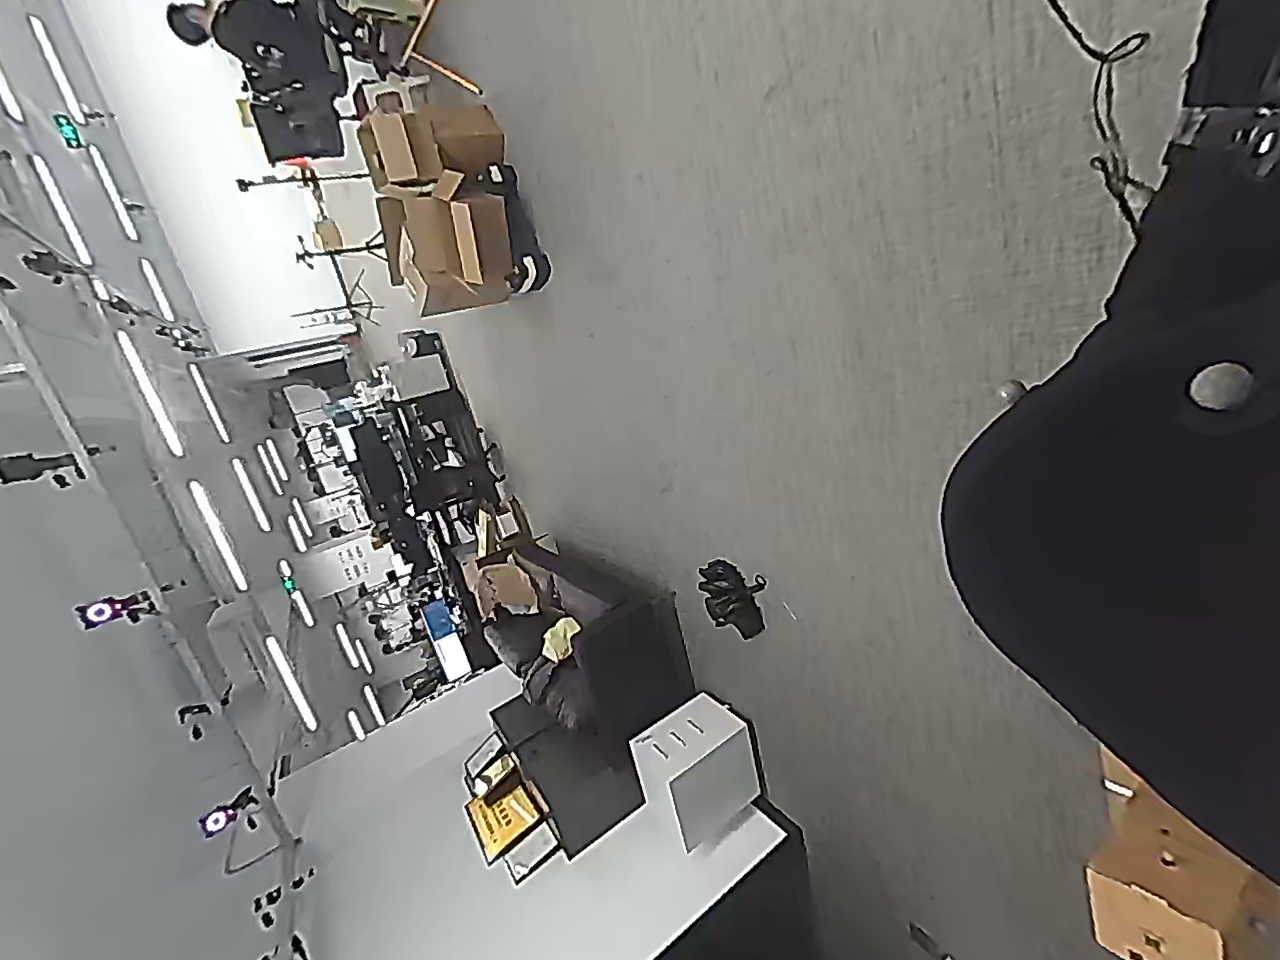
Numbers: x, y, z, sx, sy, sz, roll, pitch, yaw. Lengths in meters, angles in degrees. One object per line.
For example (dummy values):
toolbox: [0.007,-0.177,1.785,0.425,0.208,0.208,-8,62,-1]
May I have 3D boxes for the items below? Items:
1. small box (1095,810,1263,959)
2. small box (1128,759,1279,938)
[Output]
small box: [0.909,0.712,0.914,0.168,0.176,0.179,3,111,60]
small box: [1.042,0.653,0.988,0.179,0.176,0.168,6,114,61]
